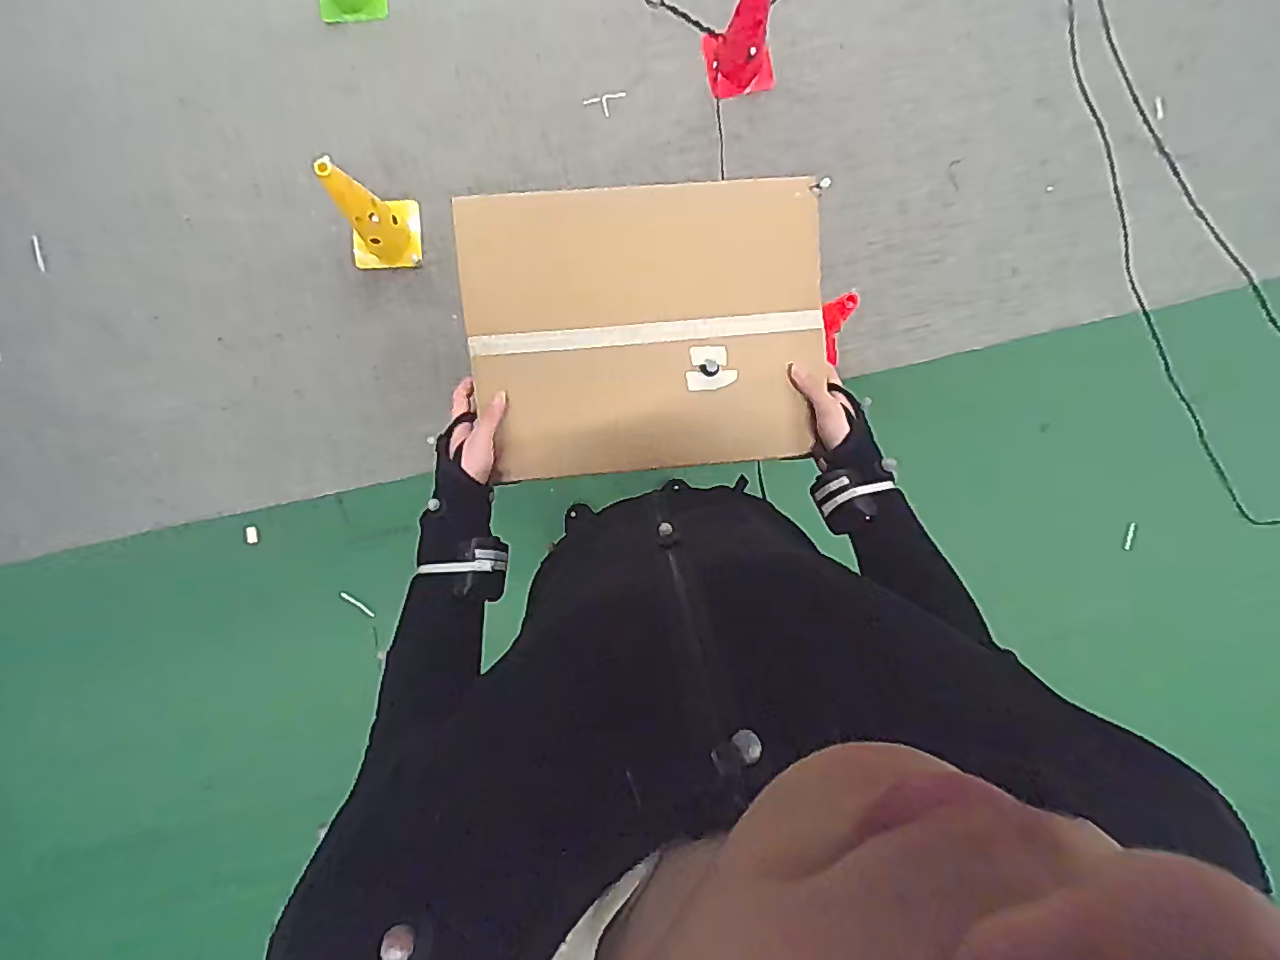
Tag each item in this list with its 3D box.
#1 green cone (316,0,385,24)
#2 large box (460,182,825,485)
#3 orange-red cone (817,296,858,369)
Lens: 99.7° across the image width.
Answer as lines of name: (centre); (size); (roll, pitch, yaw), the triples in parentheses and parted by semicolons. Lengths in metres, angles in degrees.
green cone: (-0.870, -1.471, 1.448); (0.200, 0.368, 0.202); (-7, 91, -2)
large box: (0.000, -0.185, 0.769); (0.408, 0.320, 0.320); (-6, 99, -4)
orange-red cone: (0.506, -0.435, 1.490); (0.199, 0.360, 0.198); (-5, 91, -3)
